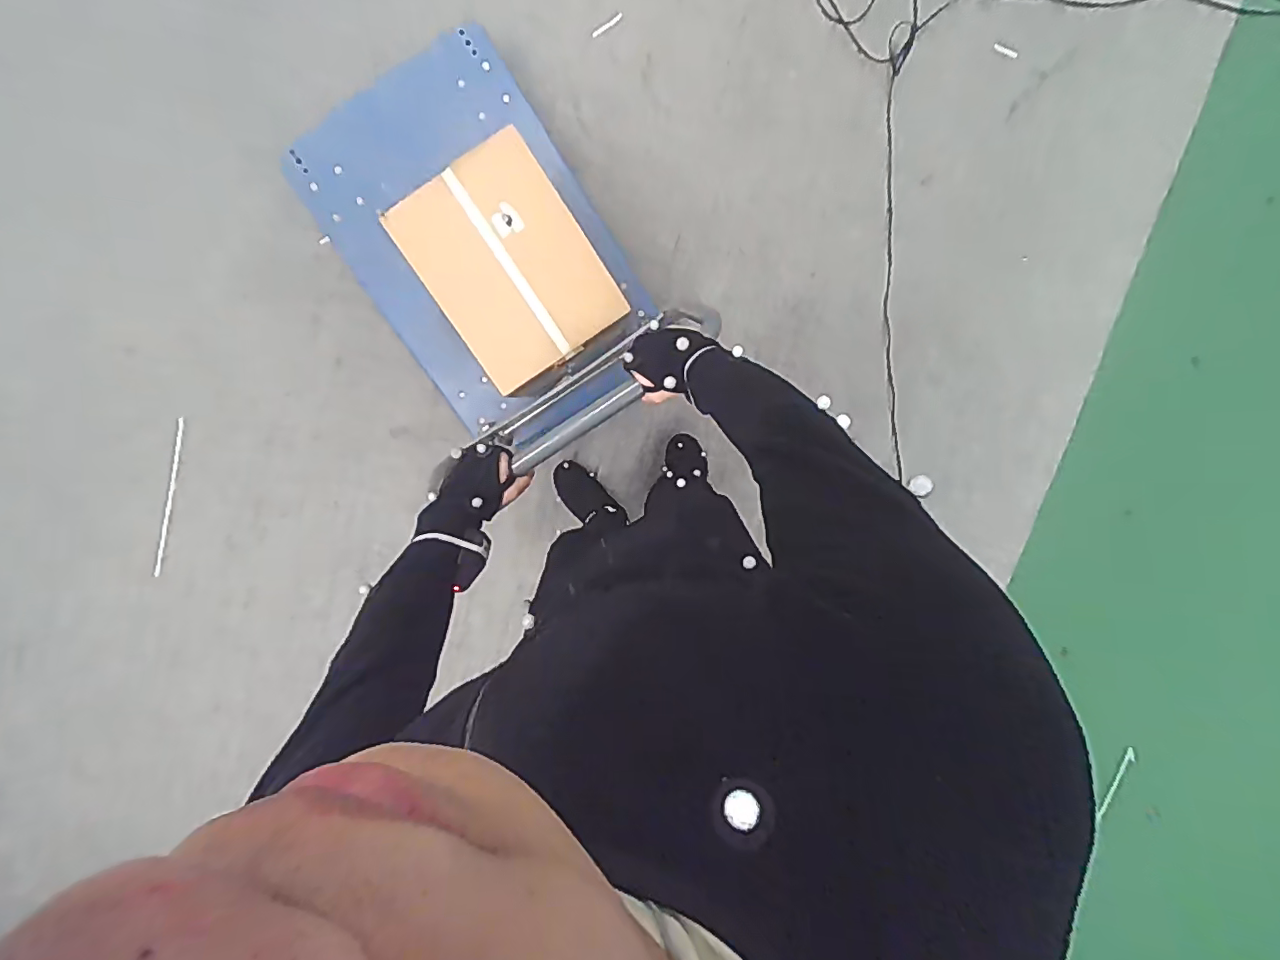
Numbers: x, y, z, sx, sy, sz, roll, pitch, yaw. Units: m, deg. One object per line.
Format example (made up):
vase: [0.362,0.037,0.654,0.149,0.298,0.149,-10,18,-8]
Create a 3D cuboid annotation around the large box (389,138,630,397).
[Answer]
large box: [-0.259,-0.436,1.216,0.320,0.320,0.408,-34,99,1]
